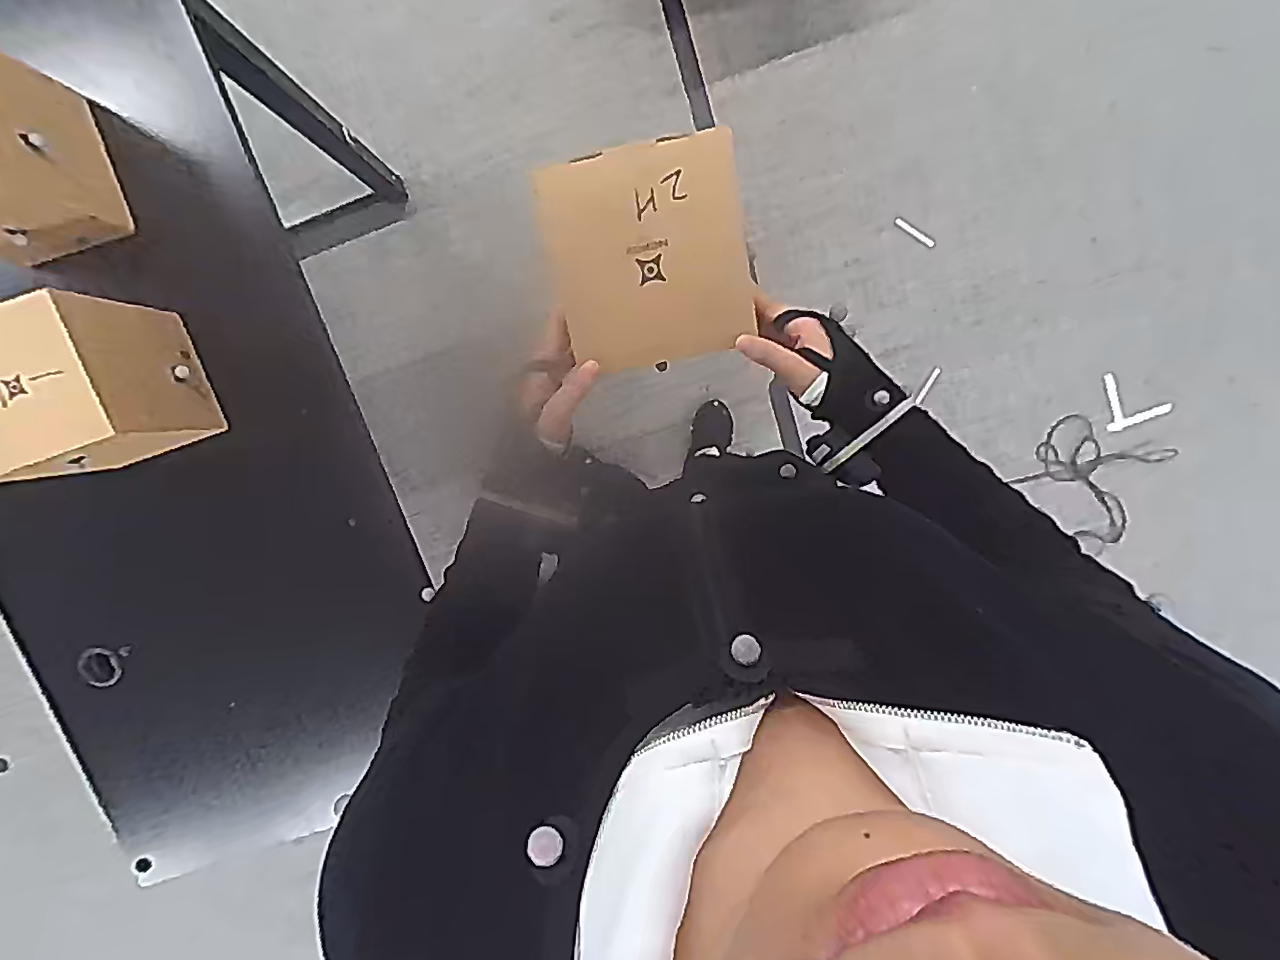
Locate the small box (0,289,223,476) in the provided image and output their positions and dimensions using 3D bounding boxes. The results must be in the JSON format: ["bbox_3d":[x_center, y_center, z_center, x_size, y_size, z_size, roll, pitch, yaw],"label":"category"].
[{"bbox_3d":[-0.676,-0.110,0.661,0.179,0.176,0.168,-18,98,2],"label":"small box"}]

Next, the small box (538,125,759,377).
[{"bbox_3d":[0.013,-0.212,0.536,0.168,0.176,0.179,-11,106,4],"label":"small box"}]

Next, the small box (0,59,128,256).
[{"bbox_3d":[-0.763,-0.375,0.623,0.168,0.176,0.179,-16,99,3],"label":"small box"}]
